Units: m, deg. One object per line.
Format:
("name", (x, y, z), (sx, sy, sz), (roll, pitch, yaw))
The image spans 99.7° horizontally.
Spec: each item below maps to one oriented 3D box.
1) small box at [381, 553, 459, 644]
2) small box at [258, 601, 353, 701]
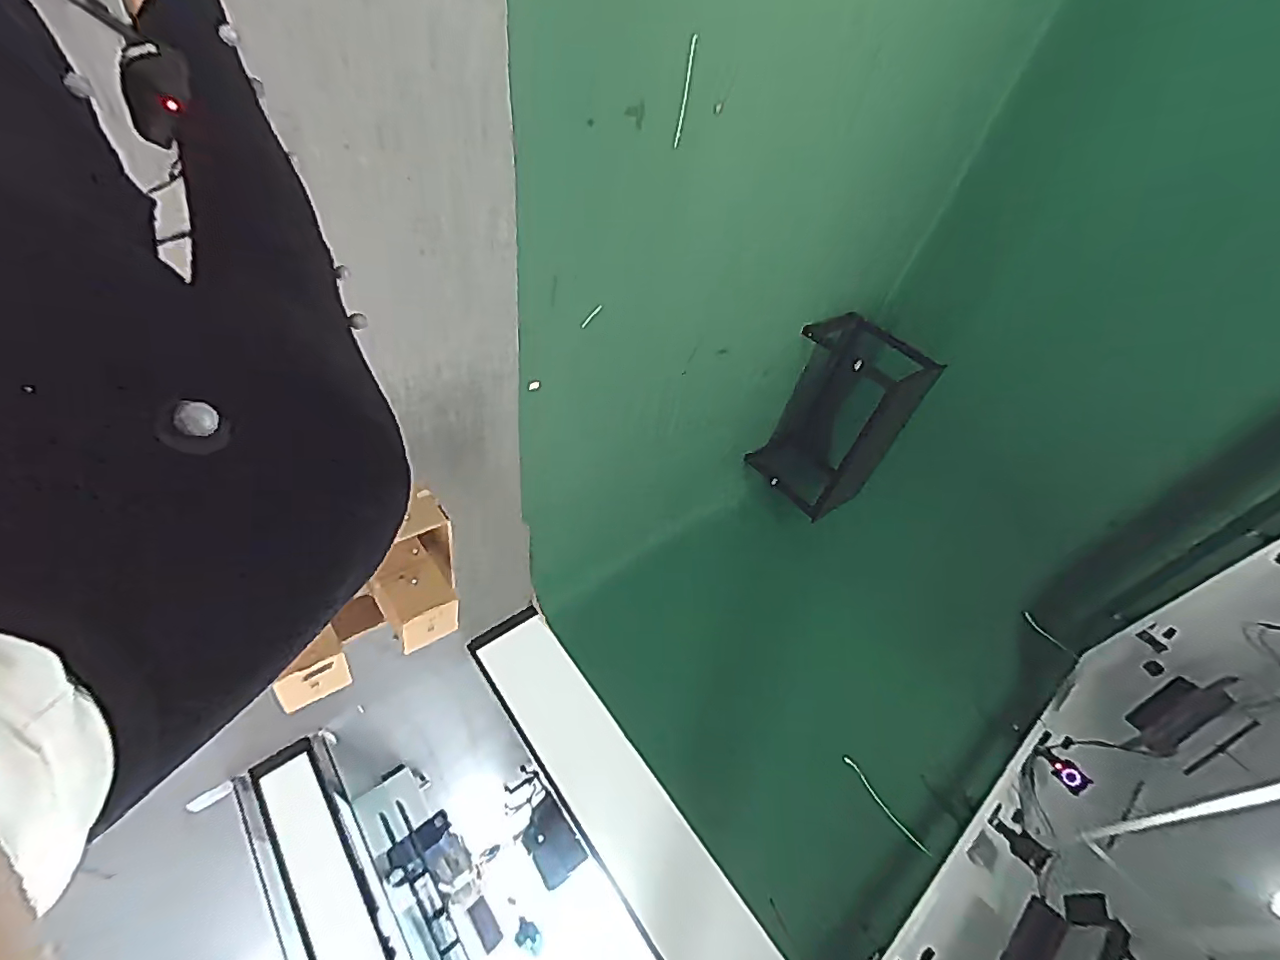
("small box", (-0.660, 0.351, 1.621), (0.168, 0.176, 0.179), (-22, 146, -36))
("small box", (-0.896, 0.448, 1.452), (0.168, 0.176, 0.179), (-21, 145, -34))
